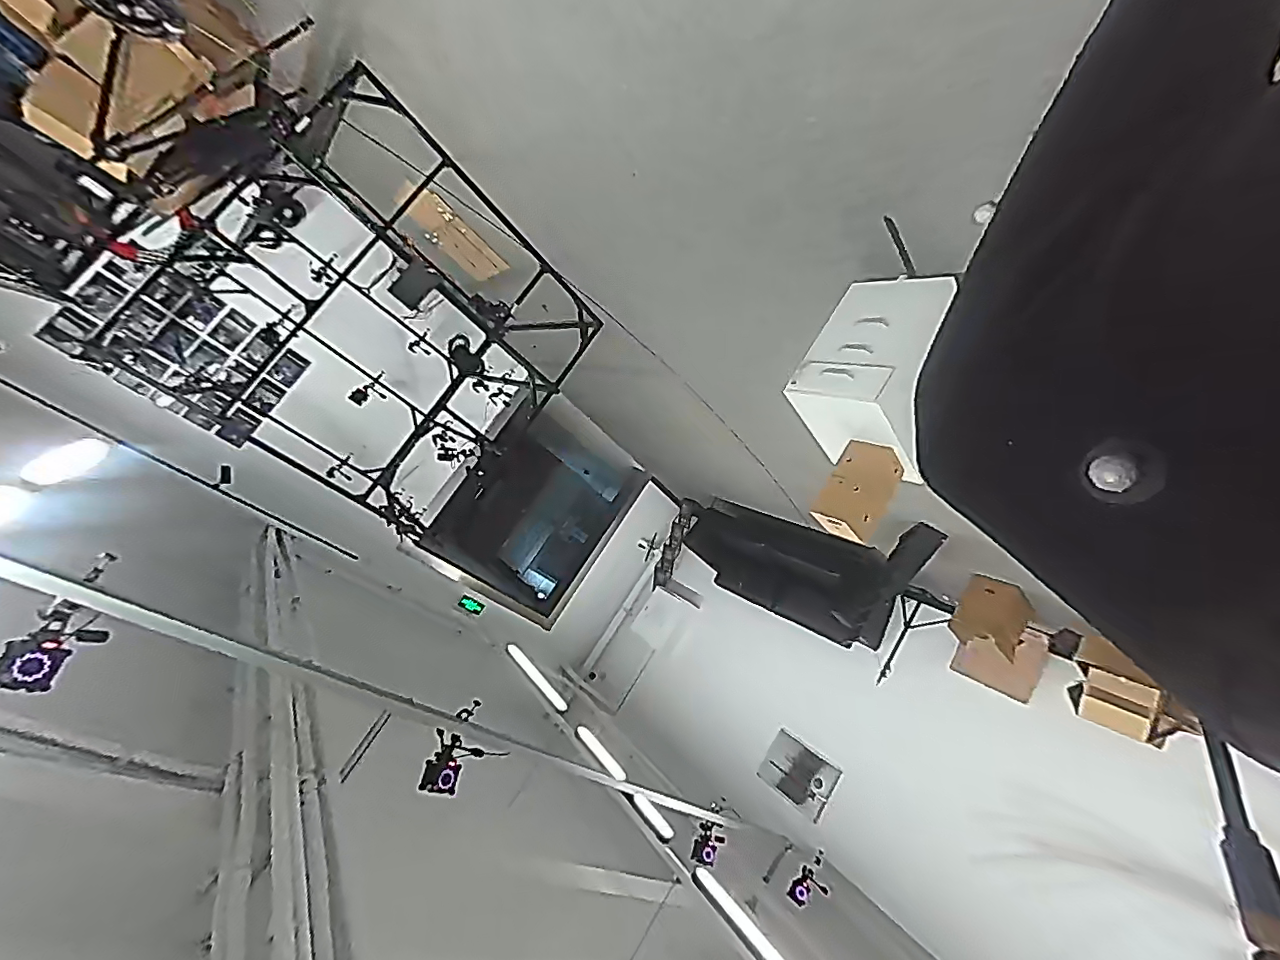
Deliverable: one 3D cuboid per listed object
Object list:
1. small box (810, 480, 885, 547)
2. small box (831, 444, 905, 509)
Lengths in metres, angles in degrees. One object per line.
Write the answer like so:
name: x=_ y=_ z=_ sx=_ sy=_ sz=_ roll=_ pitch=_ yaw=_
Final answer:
small box: x=0.778 y=0.120 z=2.019 sx=0.179 sy=0.176 sz=0.168 roll=39 pitch=170 yaw=-34
small box: x=0.865 y=-0.017 z=2.044 sx=0.179 sy=0.176 sz=0.168 roll=22 pitch=165 yaw=50
